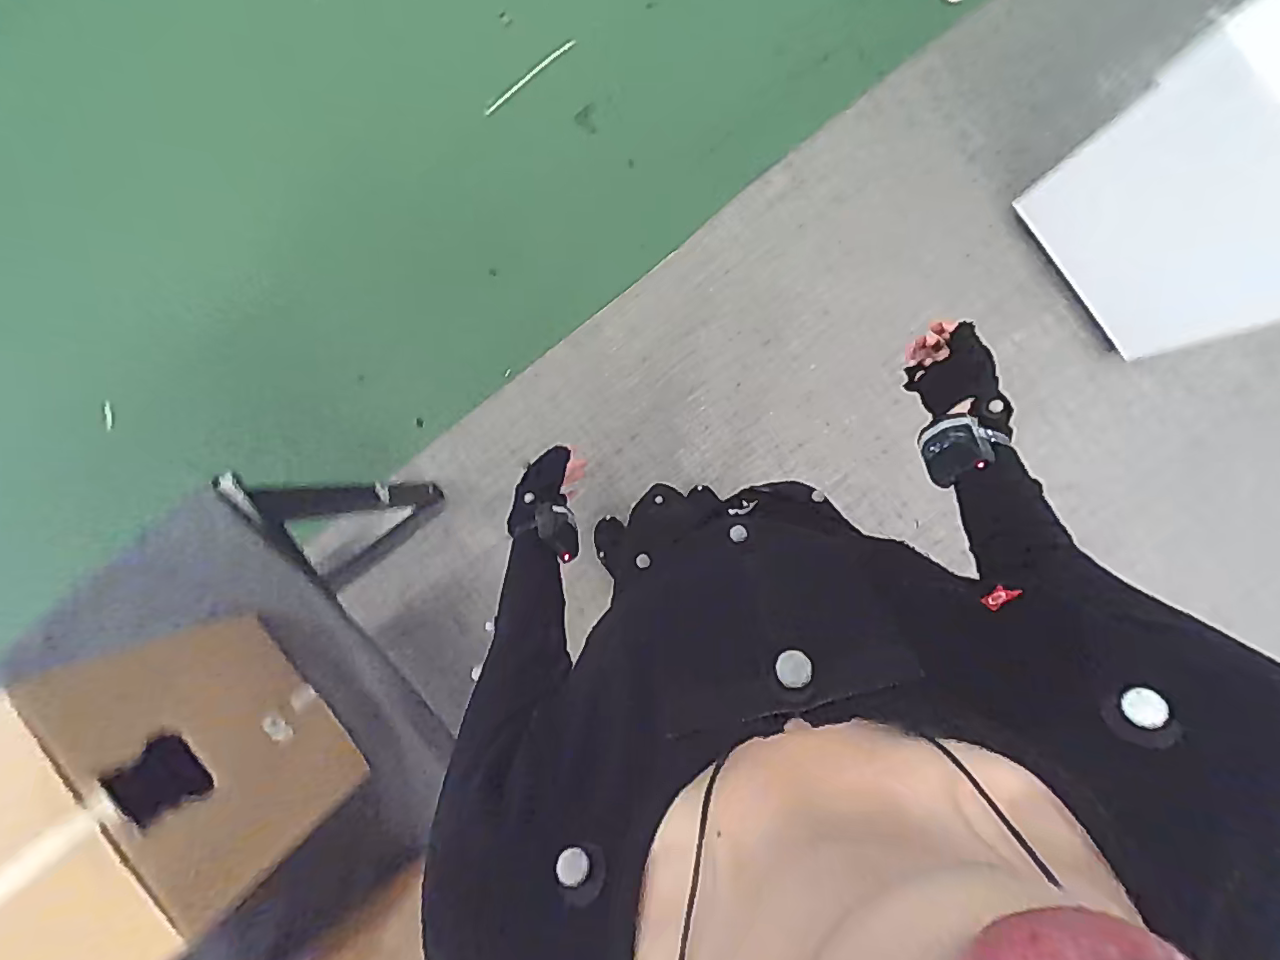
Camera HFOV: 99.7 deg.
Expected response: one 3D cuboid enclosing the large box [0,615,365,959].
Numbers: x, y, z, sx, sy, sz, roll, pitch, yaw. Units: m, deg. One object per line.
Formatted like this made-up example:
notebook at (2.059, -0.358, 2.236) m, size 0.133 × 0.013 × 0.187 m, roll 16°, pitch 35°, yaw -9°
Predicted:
large box at (-0.662, 0.444, 0.685) m, size 0.408 × 0.320 × 0.320 m, roll -38°, pitch 88°, yaw 4°
